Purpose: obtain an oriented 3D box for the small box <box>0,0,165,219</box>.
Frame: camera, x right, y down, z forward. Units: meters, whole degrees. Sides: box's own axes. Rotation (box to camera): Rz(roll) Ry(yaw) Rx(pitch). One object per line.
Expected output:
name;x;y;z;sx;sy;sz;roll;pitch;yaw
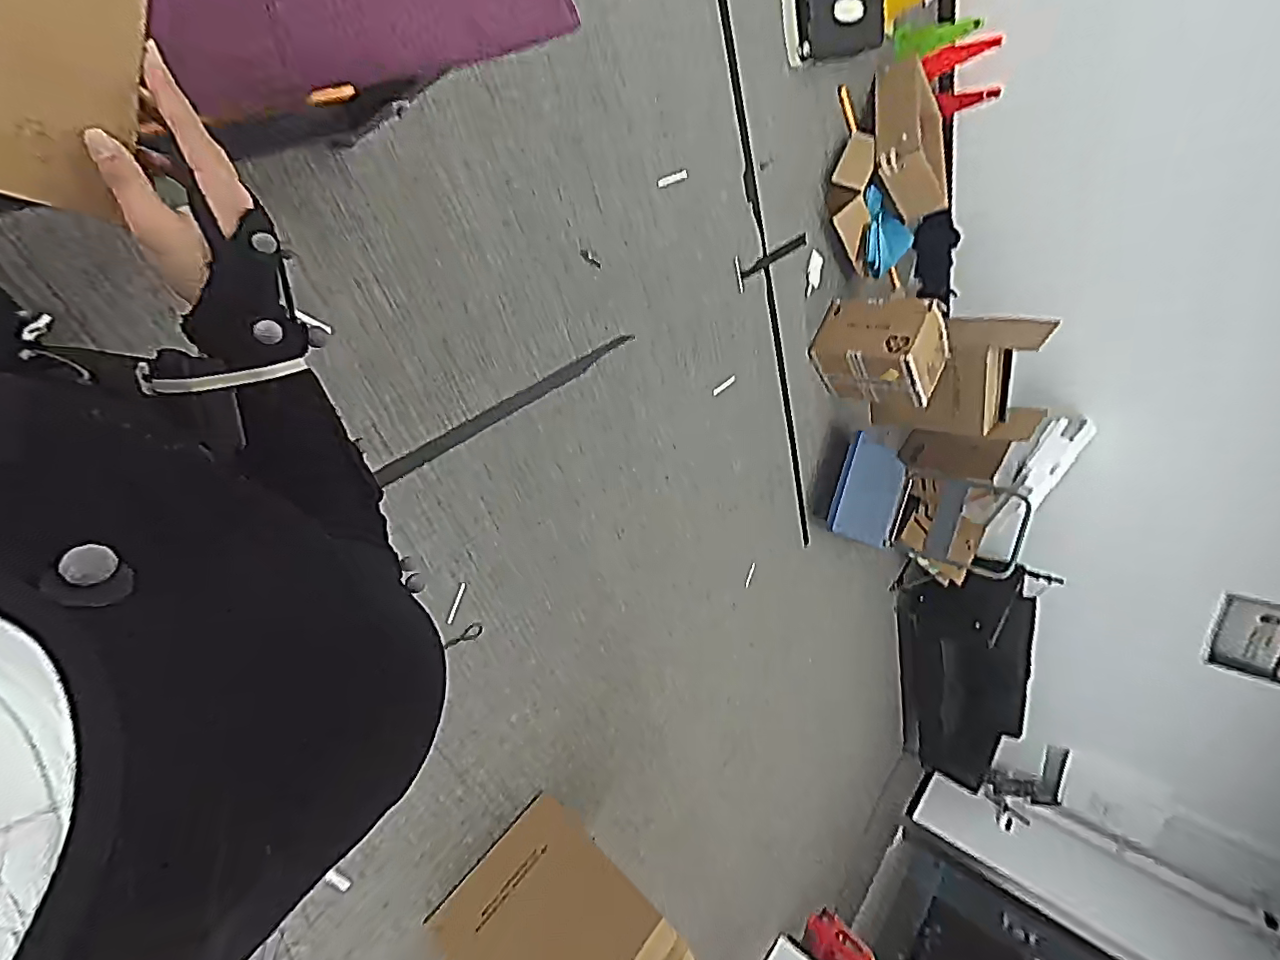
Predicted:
small box;-0.379;-0.268;0.288;0.168;0.176;0.179;2;113;-50
